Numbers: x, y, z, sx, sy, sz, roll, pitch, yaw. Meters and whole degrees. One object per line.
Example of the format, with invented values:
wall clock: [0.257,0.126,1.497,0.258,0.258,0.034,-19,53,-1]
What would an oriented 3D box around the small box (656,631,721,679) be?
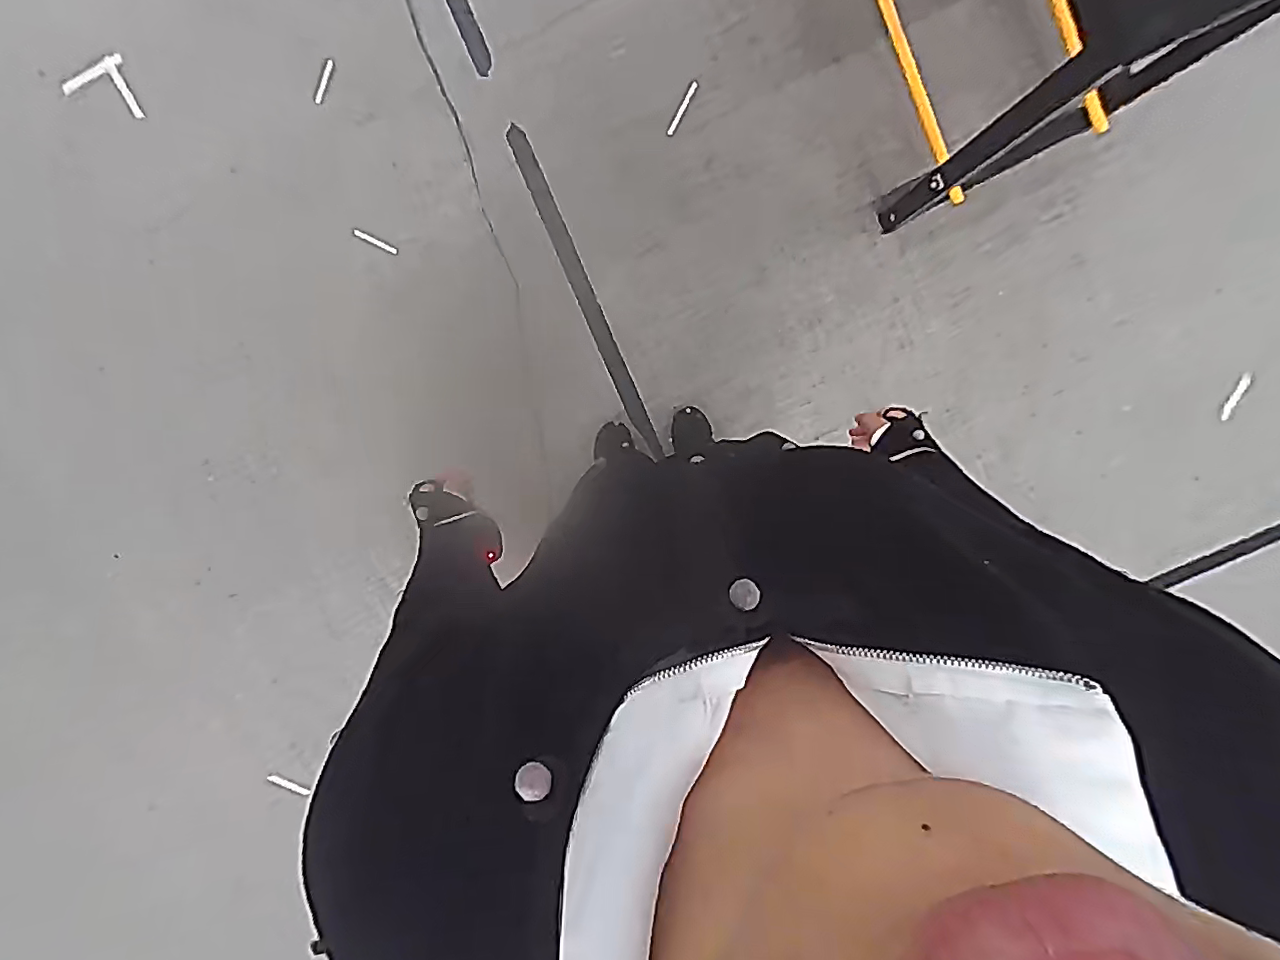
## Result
small box: [0.147,0.537,1.486,0.168,0.176,0.179,-23,96,3]

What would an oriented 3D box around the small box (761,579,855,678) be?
small box: [0.442,0.395,1.464,0.179,0.176,0.168,-27,97,3]

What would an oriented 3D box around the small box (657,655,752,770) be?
small box: [0.150,0.558,1.322,0.179,0.176,0.168,-24,97,4]
